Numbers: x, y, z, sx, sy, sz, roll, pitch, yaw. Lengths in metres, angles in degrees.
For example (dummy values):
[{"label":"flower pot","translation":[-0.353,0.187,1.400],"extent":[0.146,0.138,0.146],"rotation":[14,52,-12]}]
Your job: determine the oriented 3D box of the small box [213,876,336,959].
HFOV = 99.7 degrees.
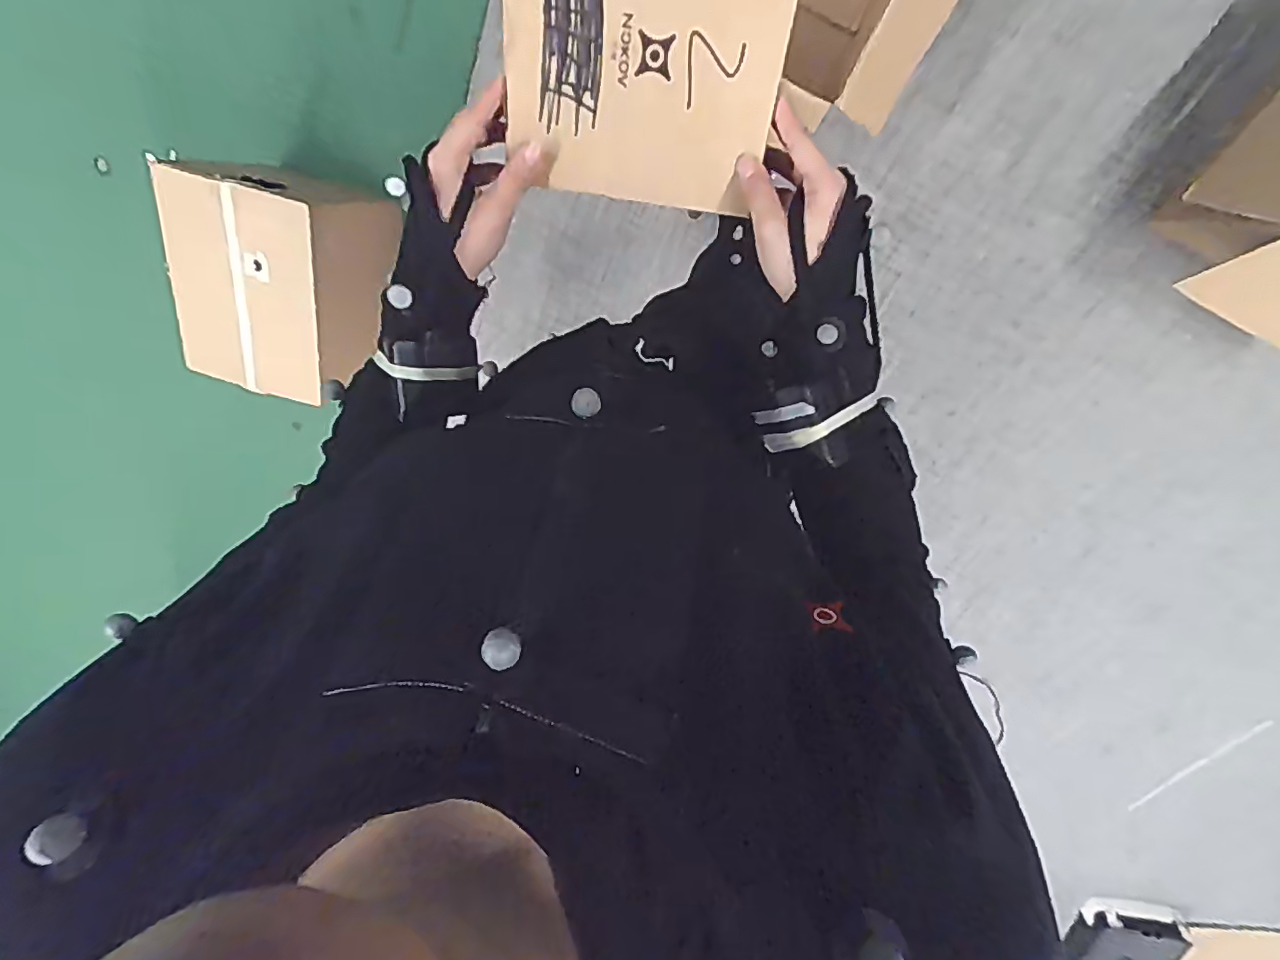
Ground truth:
[{"label":"small box","translation":[-0.842,1.064,1.252],"extent":[0.179,0.176,0.168],"rotation":[28,120,-4]}]
